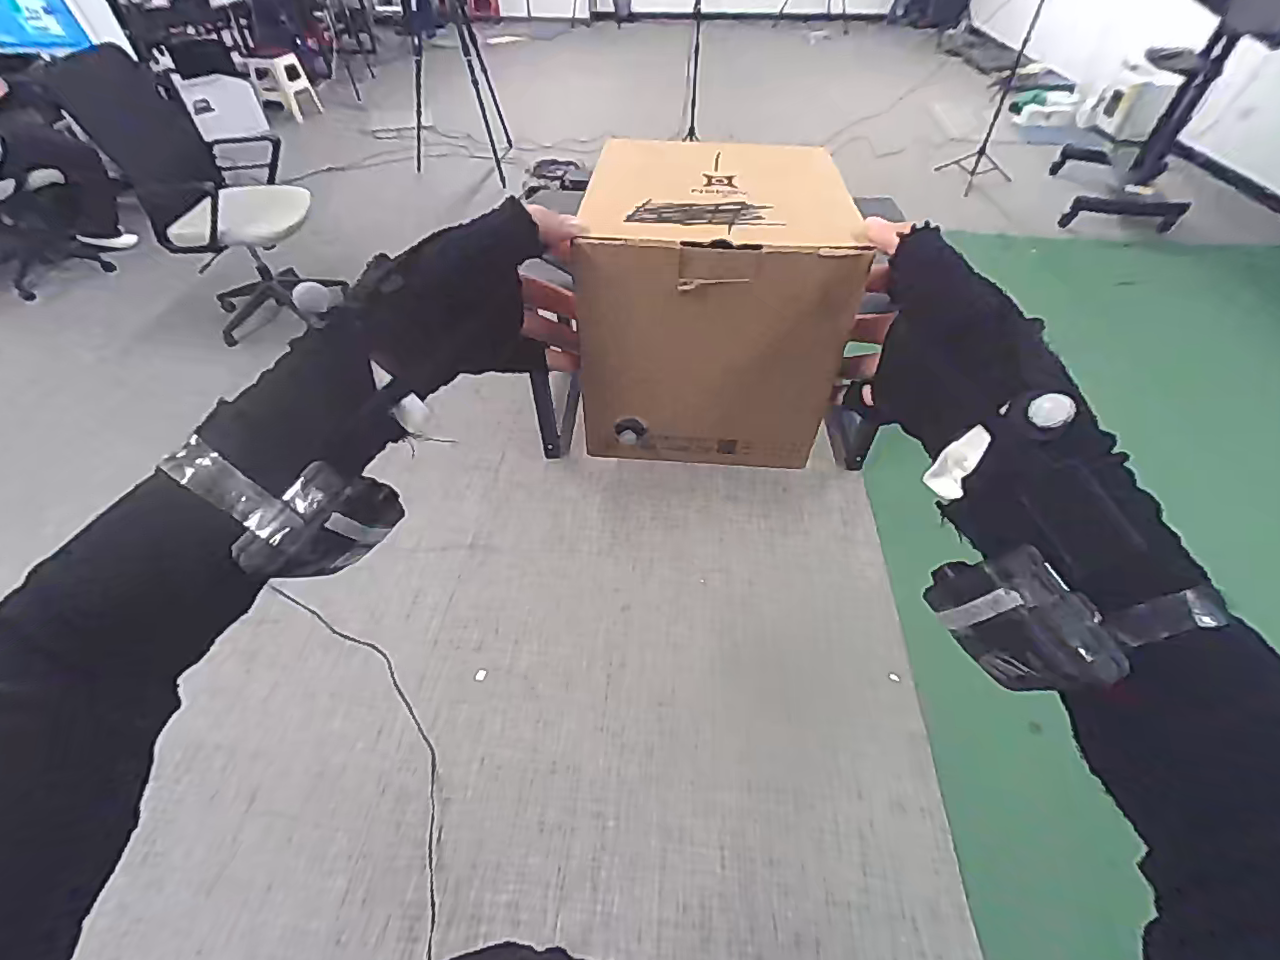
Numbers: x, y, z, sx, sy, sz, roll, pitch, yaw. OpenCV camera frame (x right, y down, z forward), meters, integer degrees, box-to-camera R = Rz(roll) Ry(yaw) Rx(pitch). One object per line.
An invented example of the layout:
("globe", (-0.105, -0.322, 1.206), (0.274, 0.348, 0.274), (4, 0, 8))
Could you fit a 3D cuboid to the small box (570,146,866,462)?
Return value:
("small box", (0.049, -0.131, 0.408), (0.168, 0.176, 0.179), (4, 46, 2))
